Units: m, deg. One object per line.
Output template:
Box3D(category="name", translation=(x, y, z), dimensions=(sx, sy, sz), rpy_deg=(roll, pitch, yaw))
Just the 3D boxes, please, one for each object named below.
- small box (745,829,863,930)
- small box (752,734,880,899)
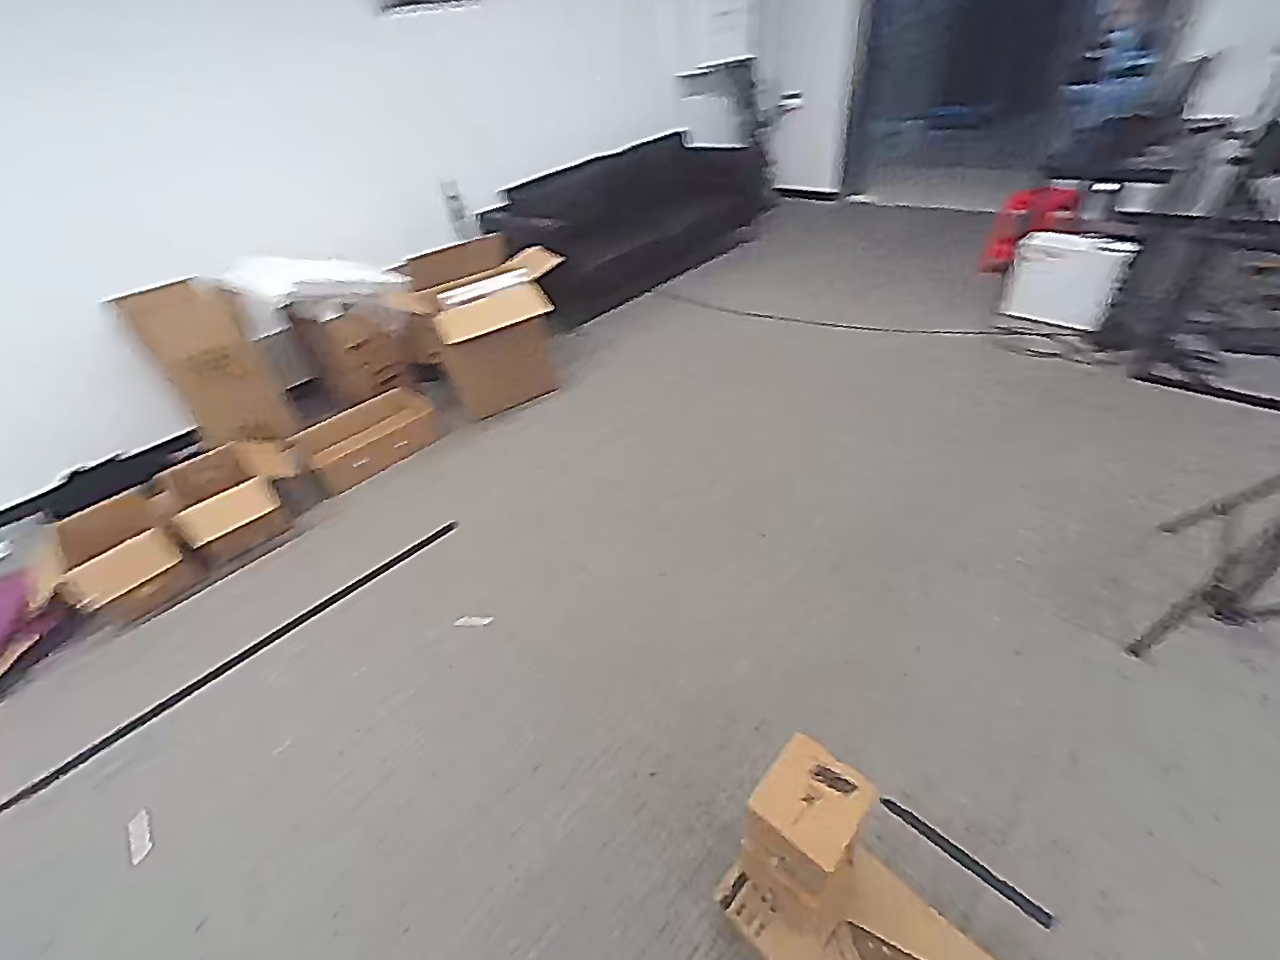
Box3D(category="small box", translation=(0.330, 0.767, 1.116), dimensions=(0.179, 0.176, 0.168), rpy_deg=(-35, 46, -29))
Box3D(category="small box", translation=(0.322, 0.633, 1.022), dimensions=(0.168, 0.176, 0.179), rpy_deg=(28, 51, 36))
